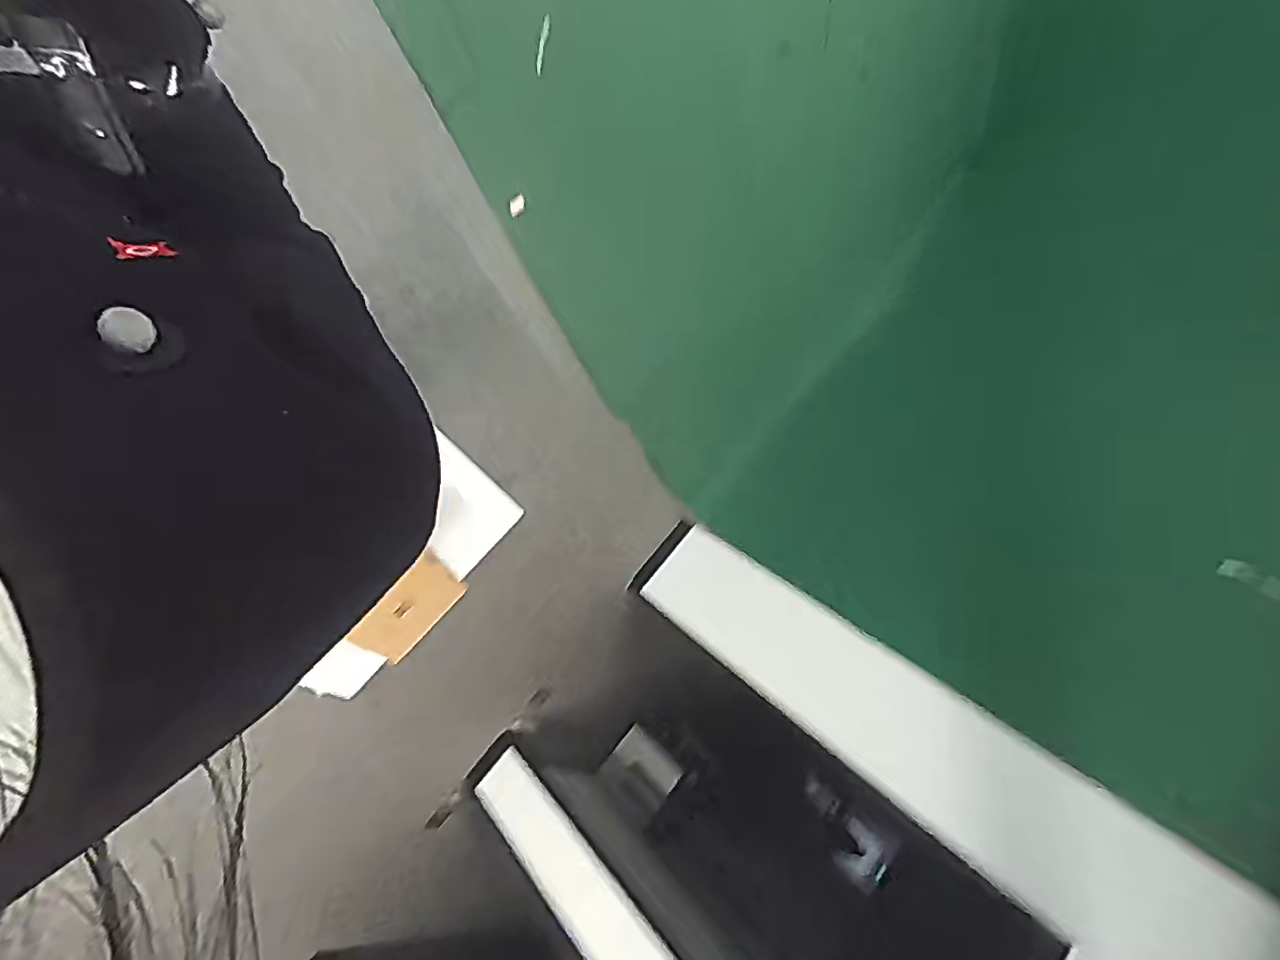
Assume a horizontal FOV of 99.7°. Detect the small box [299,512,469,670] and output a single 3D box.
[{"bbox_3d":[-0.439,0.186,0.929,0.179,0.176,0.168,-47,142,-13],"label":"small box"}]
